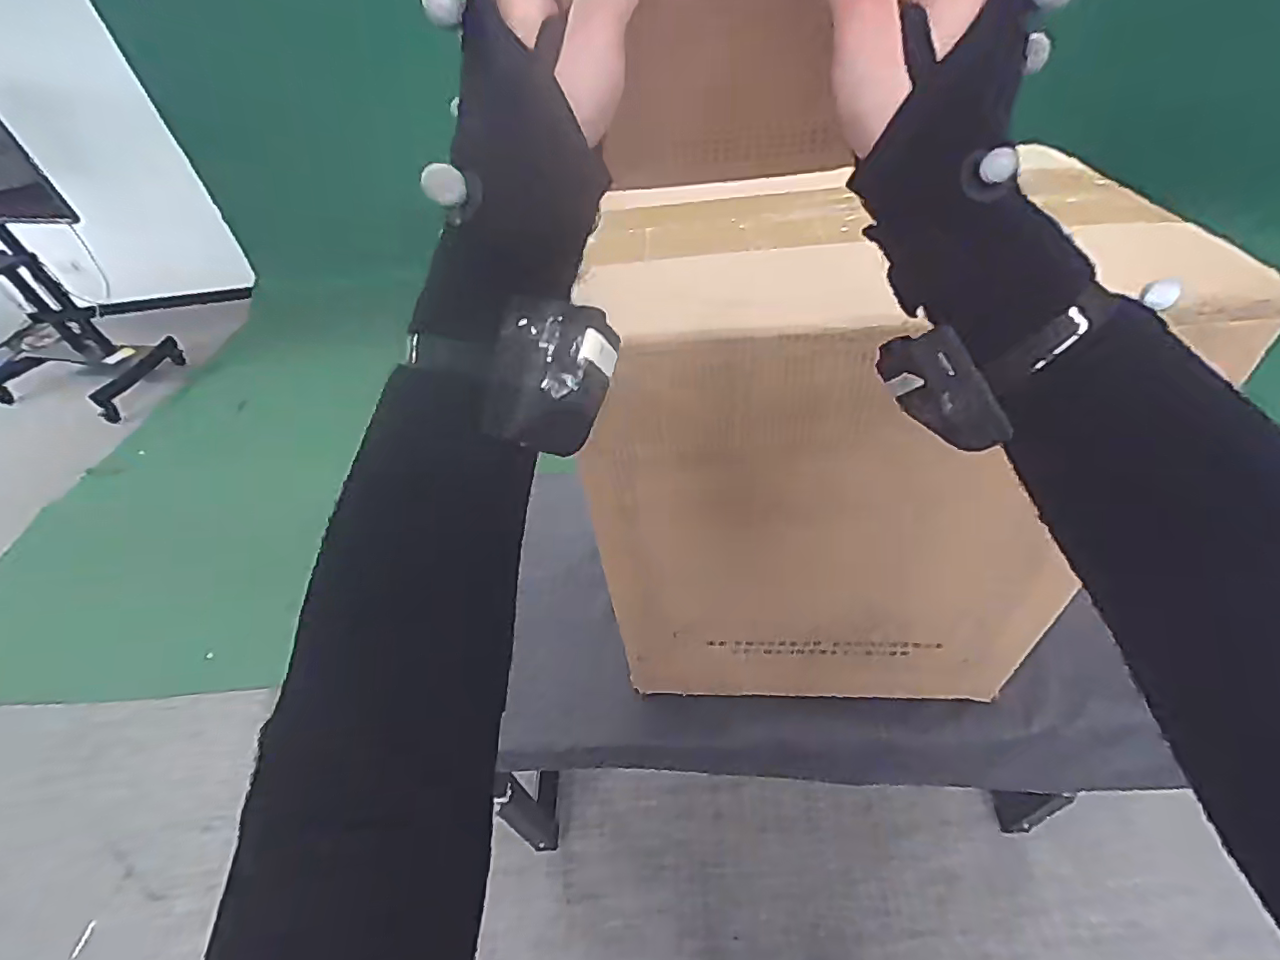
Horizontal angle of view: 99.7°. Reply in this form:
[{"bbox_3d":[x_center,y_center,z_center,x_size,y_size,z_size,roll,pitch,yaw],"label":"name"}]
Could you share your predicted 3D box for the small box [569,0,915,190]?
[{"bbox_3d":[0.052,-0.291,0.302,0.179,0.176,0.168,-1,74,4],"label":"small box"}]
